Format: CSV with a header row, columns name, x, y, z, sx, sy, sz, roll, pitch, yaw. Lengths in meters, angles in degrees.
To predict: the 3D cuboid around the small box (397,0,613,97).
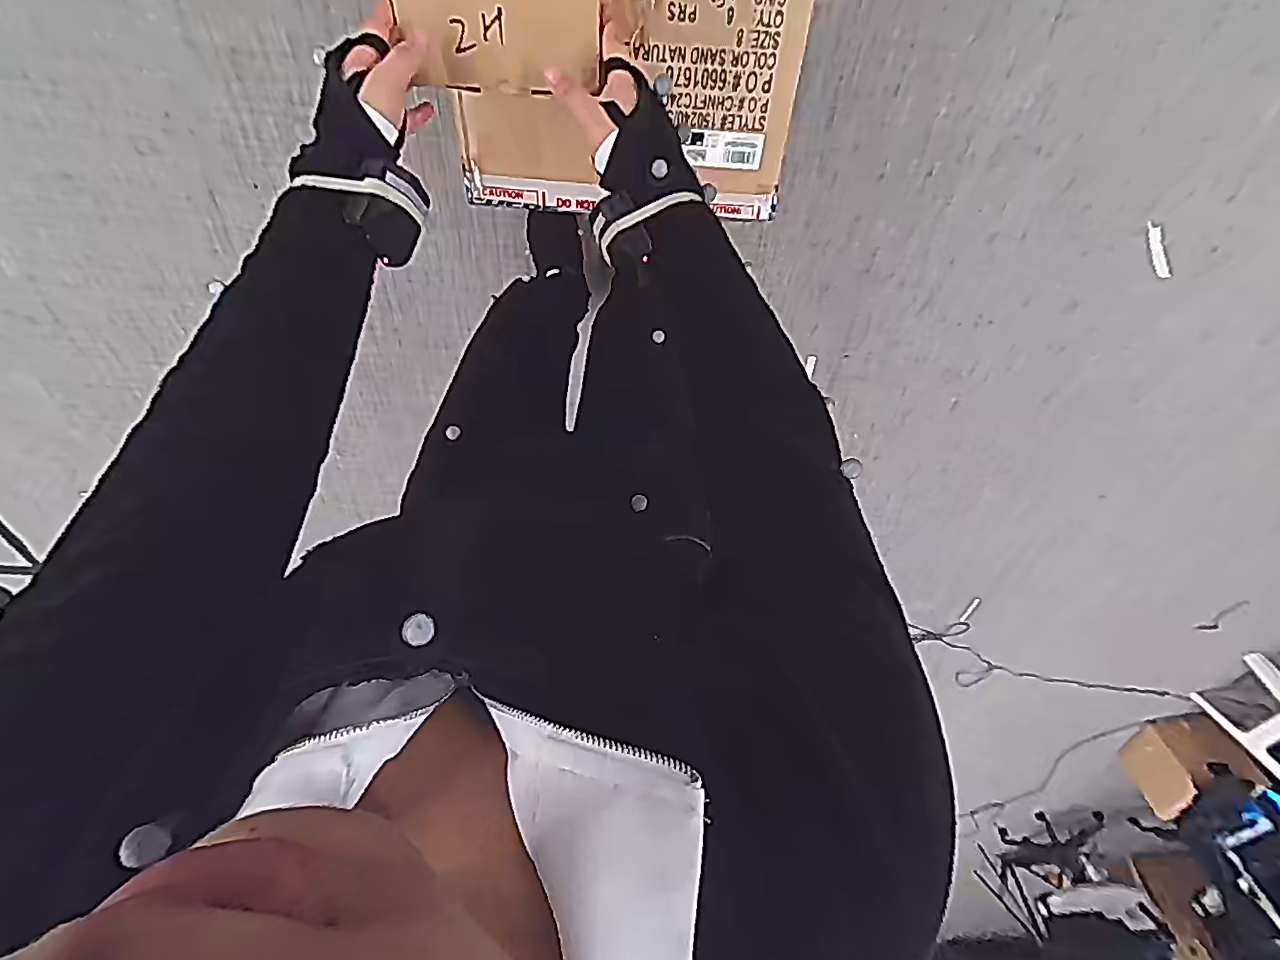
name,x,y,z,sx,sy,sz,roll,pitch,yaw
small box,-0.110,-0.455,0.470,0.168,0.176,0.179,2,133,-1
